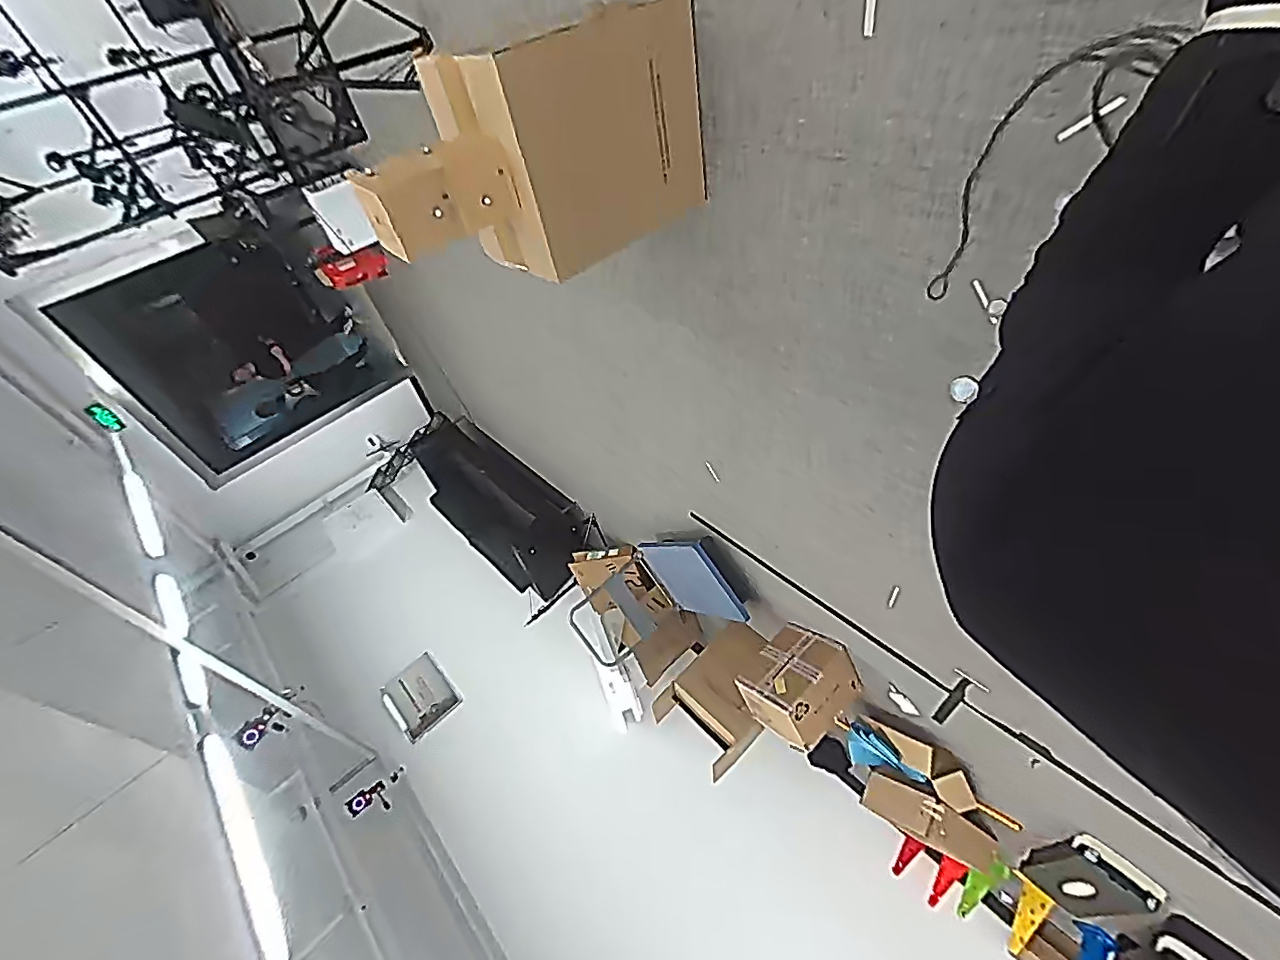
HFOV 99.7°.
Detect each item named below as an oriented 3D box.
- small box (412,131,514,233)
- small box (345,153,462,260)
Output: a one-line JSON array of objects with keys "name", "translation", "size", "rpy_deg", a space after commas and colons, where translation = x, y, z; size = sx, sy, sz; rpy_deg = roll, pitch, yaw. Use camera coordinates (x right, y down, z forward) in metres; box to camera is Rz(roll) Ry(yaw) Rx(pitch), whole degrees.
[{"name": "small box", "translation": [-0.440, -0.756, 1.364], "size": [0.179, 0.176, 0.168], "rpy_deg": [35, 153, 35]}, {"name": "small box", "translation": [-0.564, -0.665, 1.304], "size": [0.179, 0.176, 0.168], "rpy_deg": [36, 155, 32]}]
